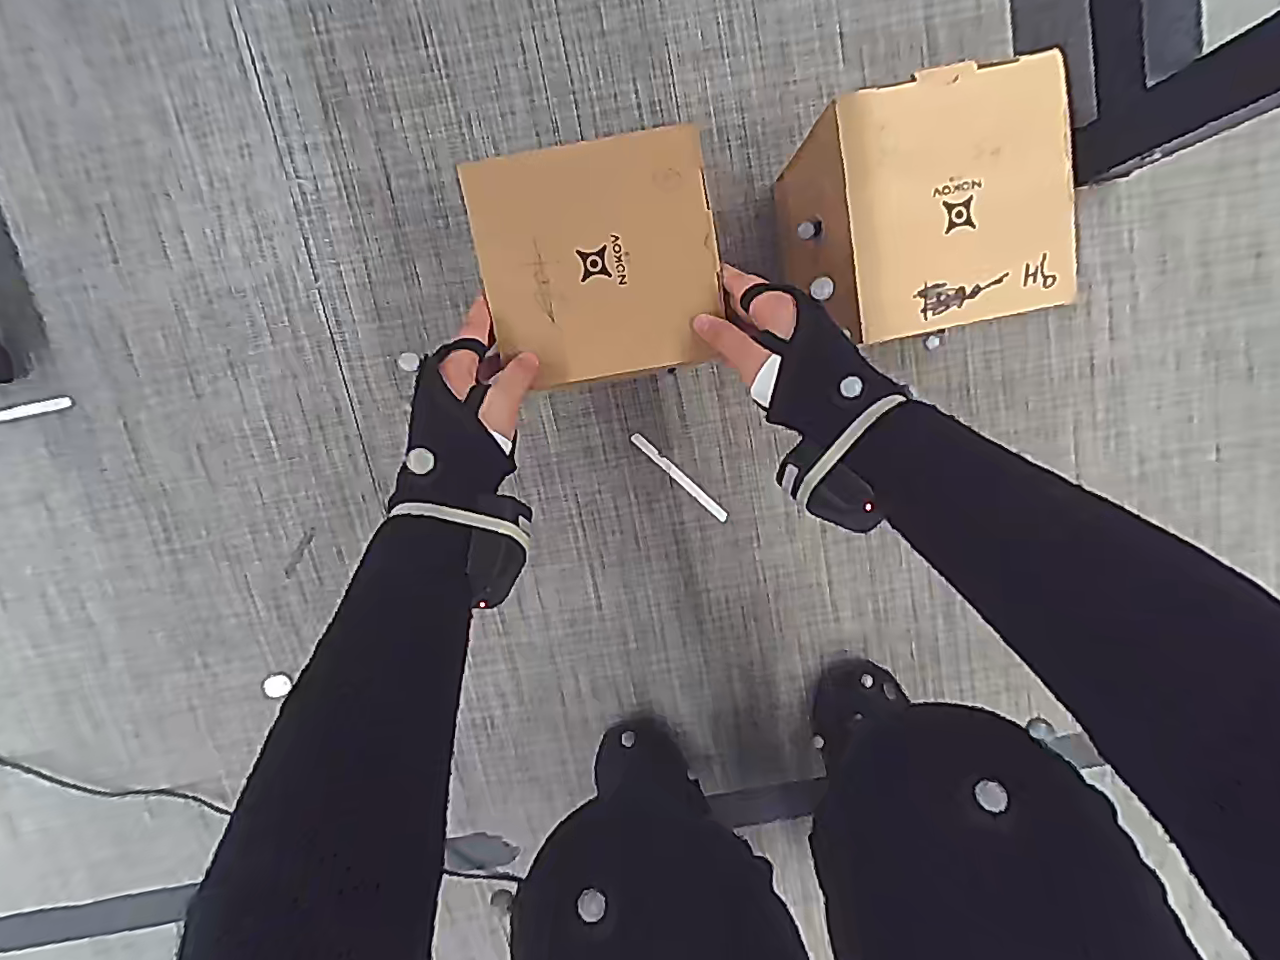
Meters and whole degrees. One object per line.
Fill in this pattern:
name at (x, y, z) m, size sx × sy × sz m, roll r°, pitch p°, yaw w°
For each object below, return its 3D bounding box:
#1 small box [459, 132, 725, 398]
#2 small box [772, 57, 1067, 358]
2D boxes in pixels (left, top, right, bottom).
small box at (-0.034, -0.170, 0.481) m, size 0.179 × 0.176 × 0.168 m, roll -11°, pitch 98°, yaw 2°
small box at (0.225, -0.214, 0.476) m, size 0.168 × 0.176 × 0.179 m, roll -11°, pitch 98°, yaw 1°
